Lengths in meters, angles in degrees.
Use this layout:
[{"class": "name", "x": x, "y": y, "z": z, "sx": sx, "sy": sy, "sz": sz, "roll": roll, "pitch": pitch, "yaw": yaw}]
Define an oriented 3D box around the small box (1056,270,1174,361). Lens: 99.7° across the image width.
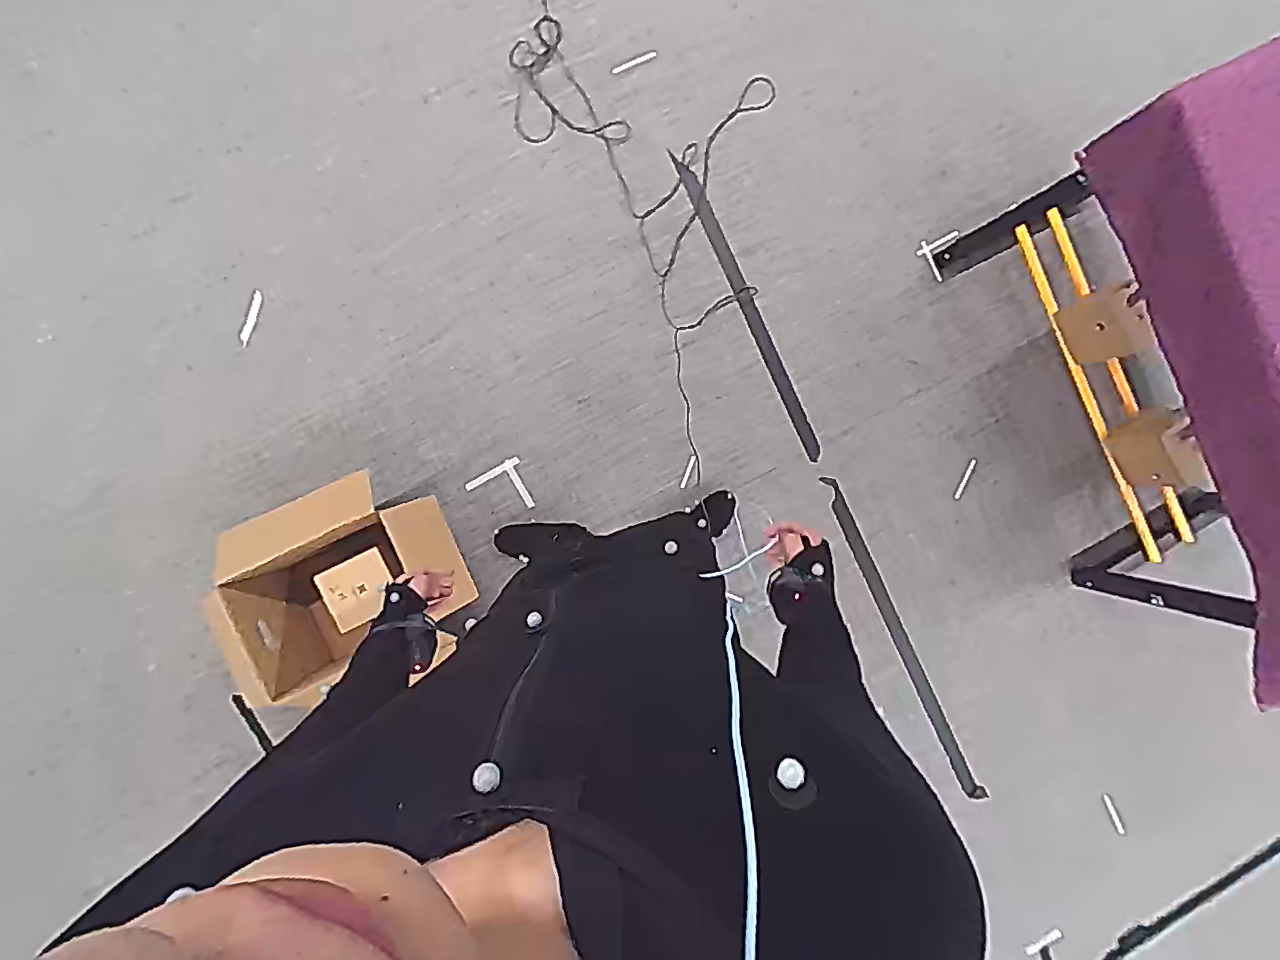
[{"class": "small box", "x": 1.355, "y": -0.465, "z": 1.555, "sx": 0.168, "sy": 0.176, "sz": 0.179, "roll": -30, "pitch": 97, "yaw": -4}]
